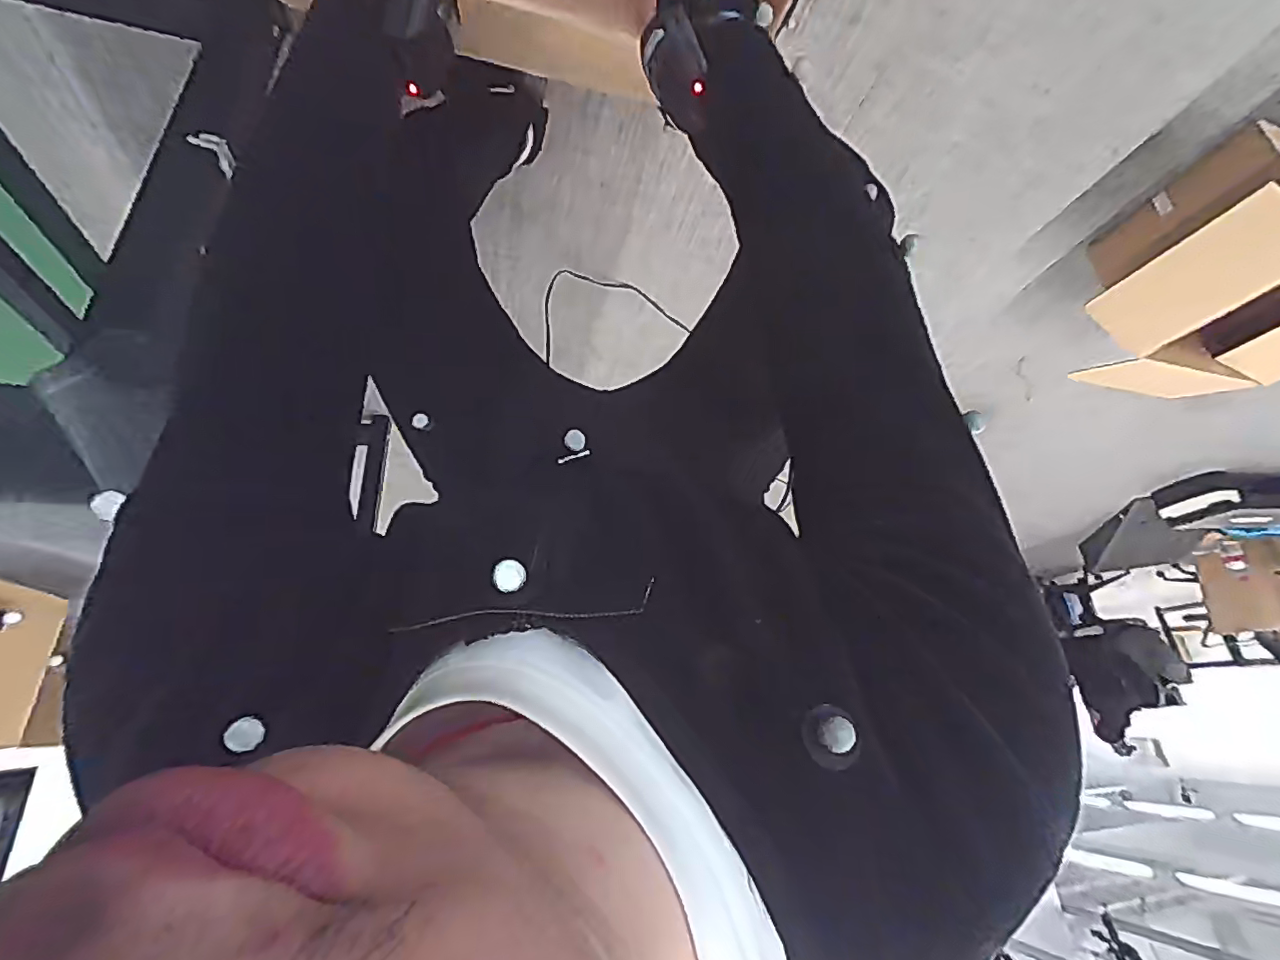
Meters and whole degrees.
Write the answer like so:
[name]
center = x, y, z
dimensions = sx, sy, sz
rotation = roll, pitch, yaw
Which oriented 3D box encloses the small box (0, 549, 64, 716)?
[small box]
center = -0.756, 0.151, 0.540
dimensions = 0.168, 0.176, 0.179
rotation = 0, 157, -12
